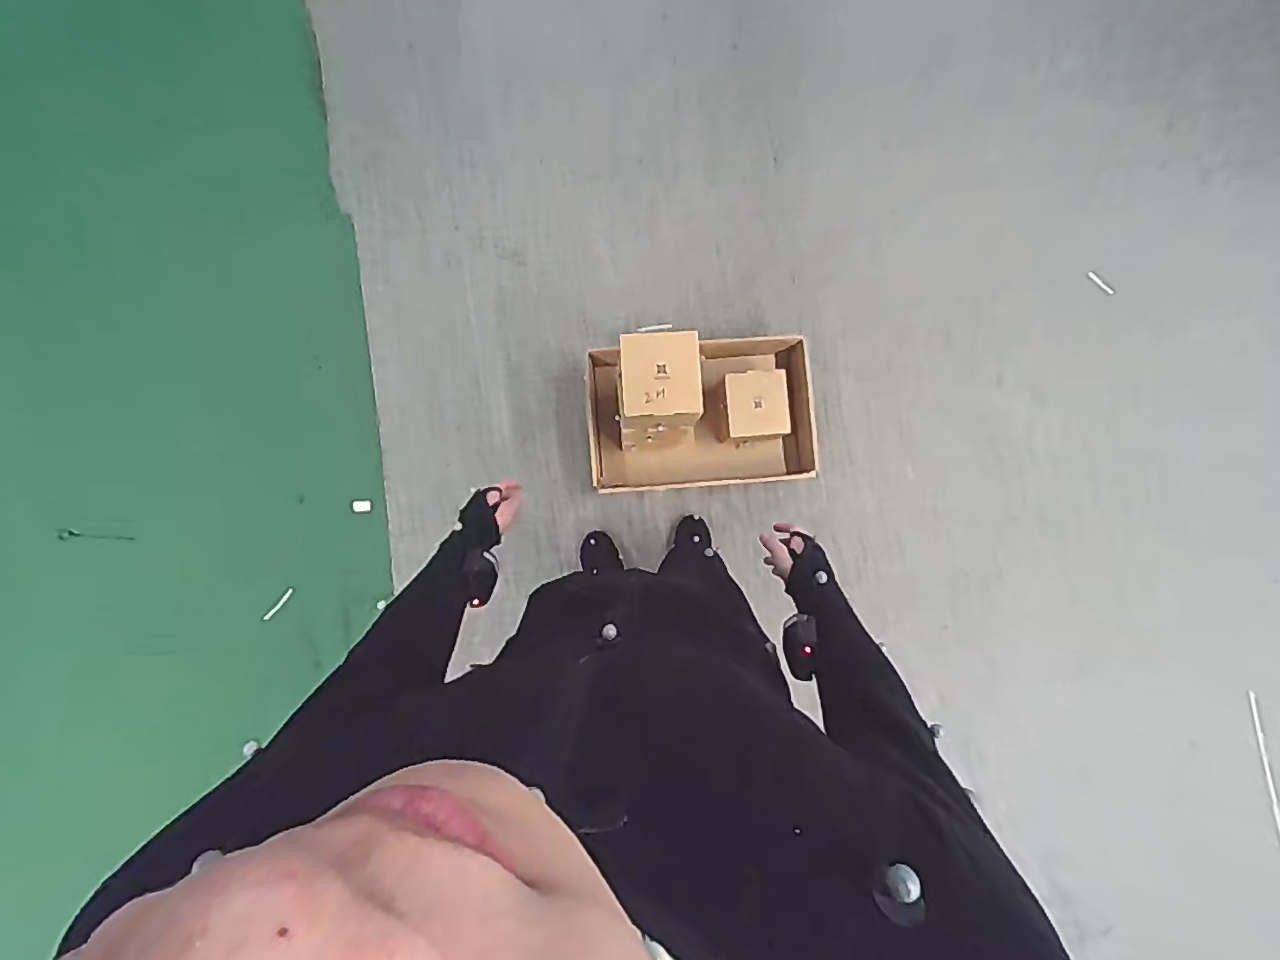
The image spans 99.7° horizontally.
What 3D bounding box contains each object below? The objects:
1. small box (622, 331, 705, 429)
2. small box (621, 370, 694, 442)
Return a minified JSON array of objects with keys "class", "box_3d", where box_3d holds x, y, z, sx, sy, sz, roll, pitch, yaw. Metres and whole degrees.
[{"class":"small box","box_3d":[0.046,-0.214,1.189,0.168,0.176,0.179,-3,86,-1]},{"class":"small box","box_3d":[0.040,-0.197,1.352,0.168,0.176,0.179,-4,86,-2]}]
